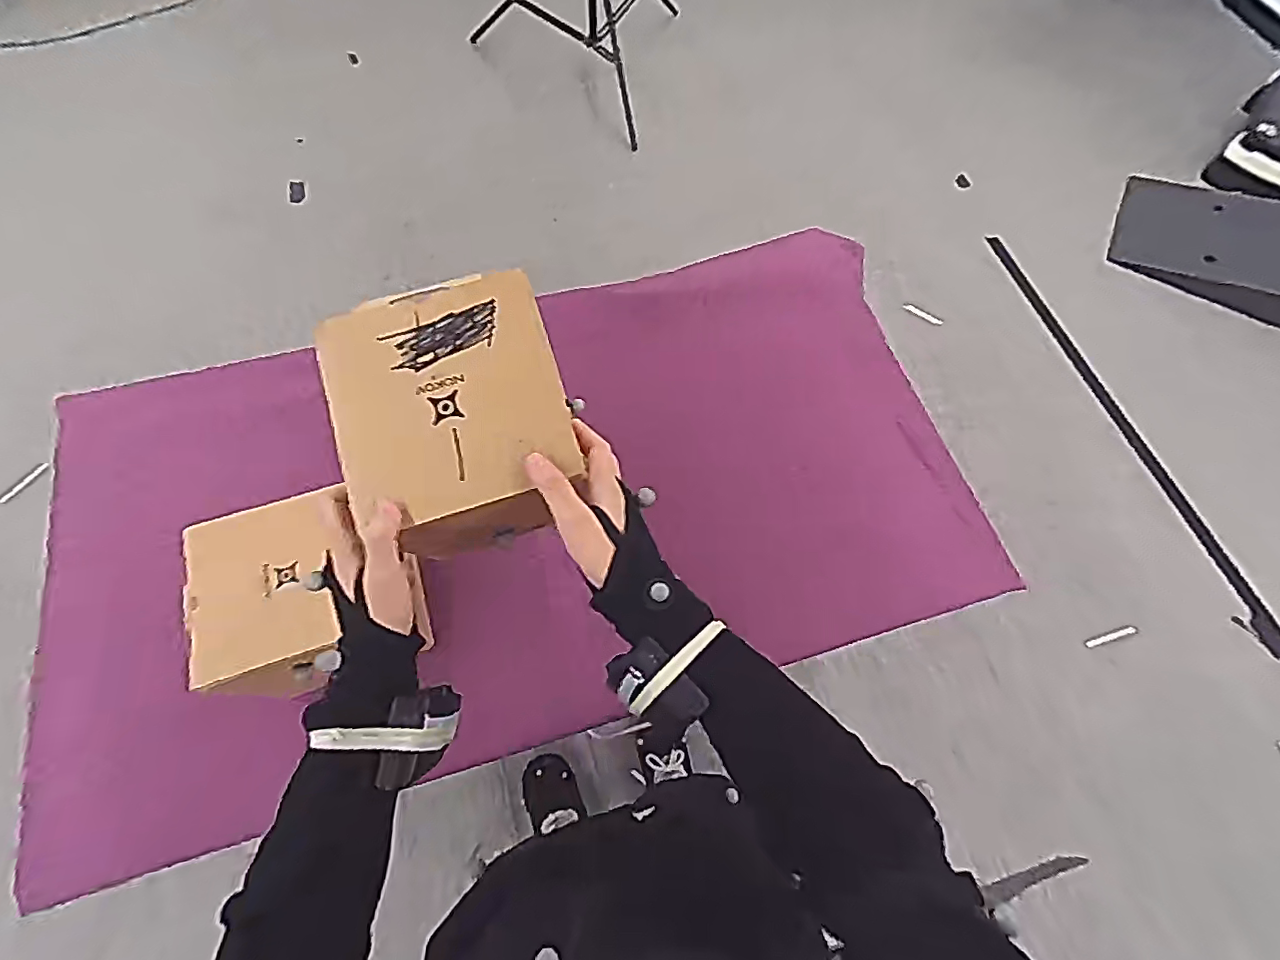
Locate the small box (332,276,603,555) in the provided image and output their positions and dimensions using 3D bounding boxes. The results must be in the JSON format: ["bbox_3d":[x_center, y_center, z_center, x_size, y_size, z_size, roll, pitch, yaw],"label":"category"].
[{"bbox_3d":[-0.137,-0.043,0.483,0.168,0.176,0.179,-17,79,-4],"label":"small box"}]

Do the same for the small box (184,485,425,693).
[{"bbox_3d":[-0.360,0.129,0.611,0.179,0.176,0.168,-18,69,-10],"label":"small box"}]
